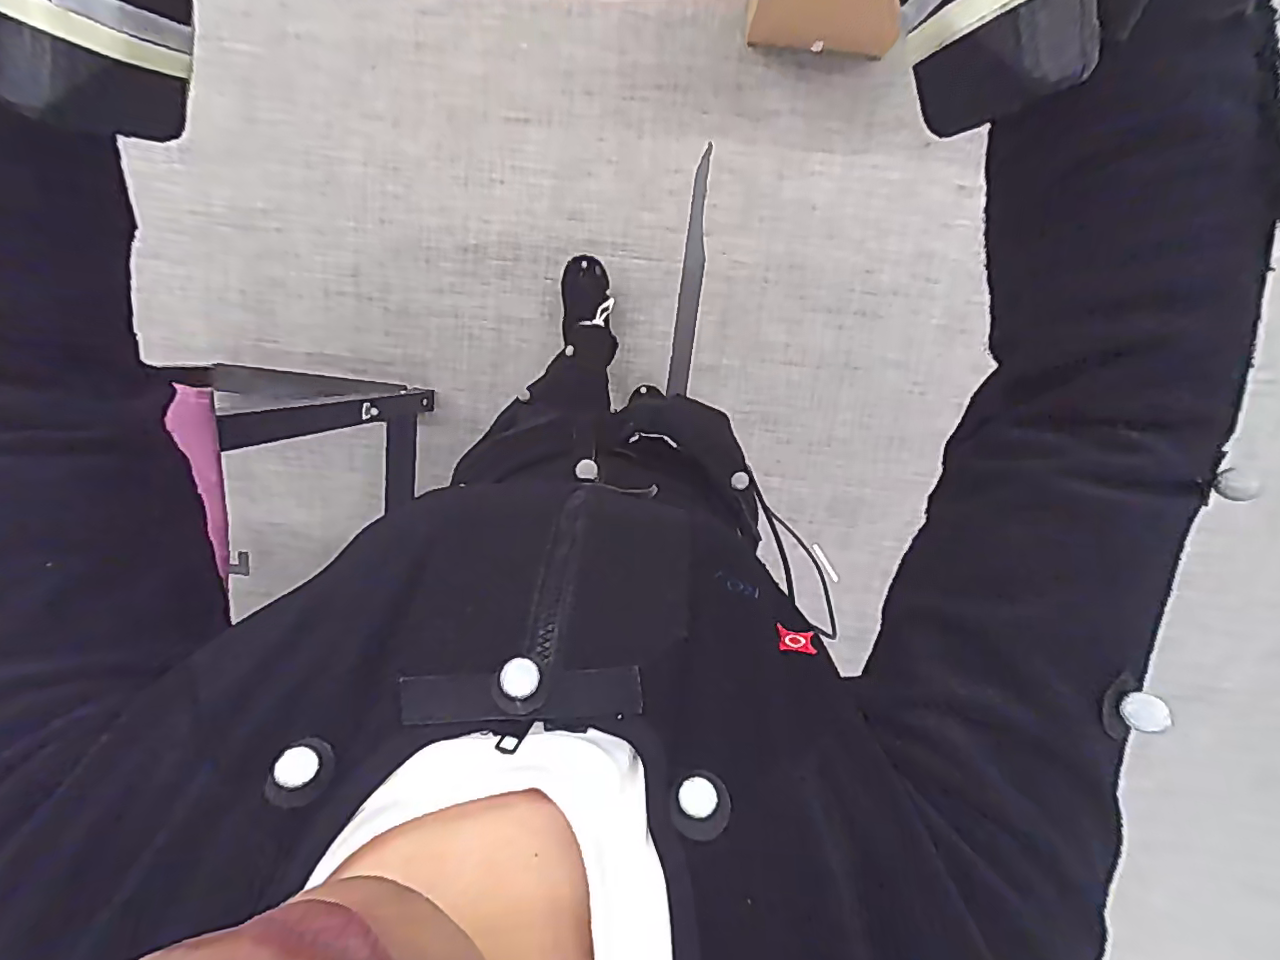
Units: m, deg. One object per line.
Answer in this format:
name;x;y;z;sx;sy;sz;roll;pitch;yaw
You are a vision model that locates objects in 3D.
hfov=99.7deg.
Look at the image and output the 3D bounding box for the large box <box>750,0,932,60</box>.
large box;0.401;-1.088;0.989;0.320;0.320;0.408;6;102;1
